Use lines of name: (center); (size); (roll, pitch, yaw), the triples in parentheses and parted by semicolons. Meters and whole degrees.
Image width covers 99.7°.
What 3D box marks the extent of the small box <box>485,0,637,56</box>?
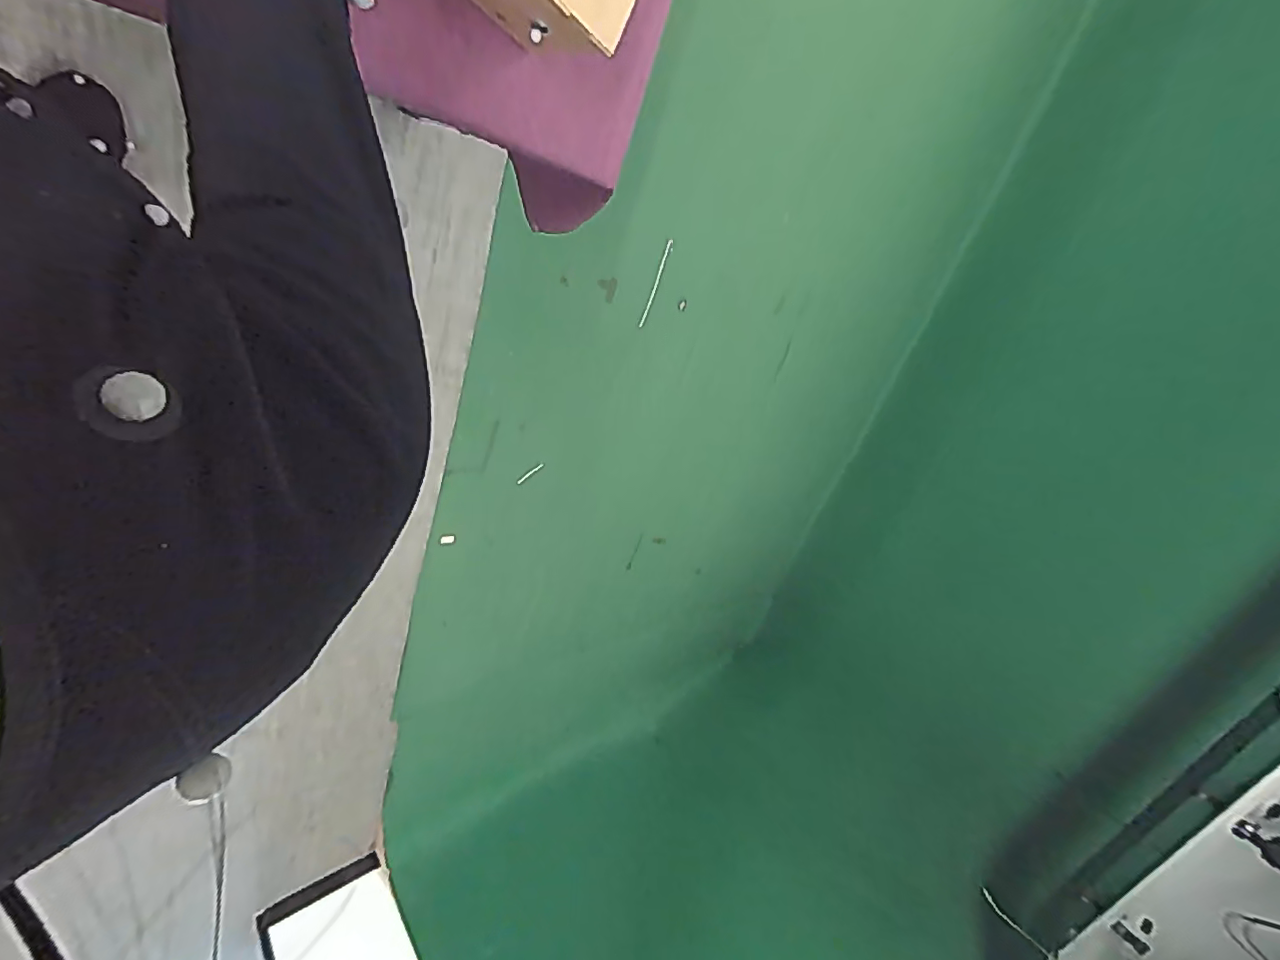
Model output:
small box: (-0.092, -0.561, 0.526); (0.168, 0.176, 0.179); (9, 113, -50)
